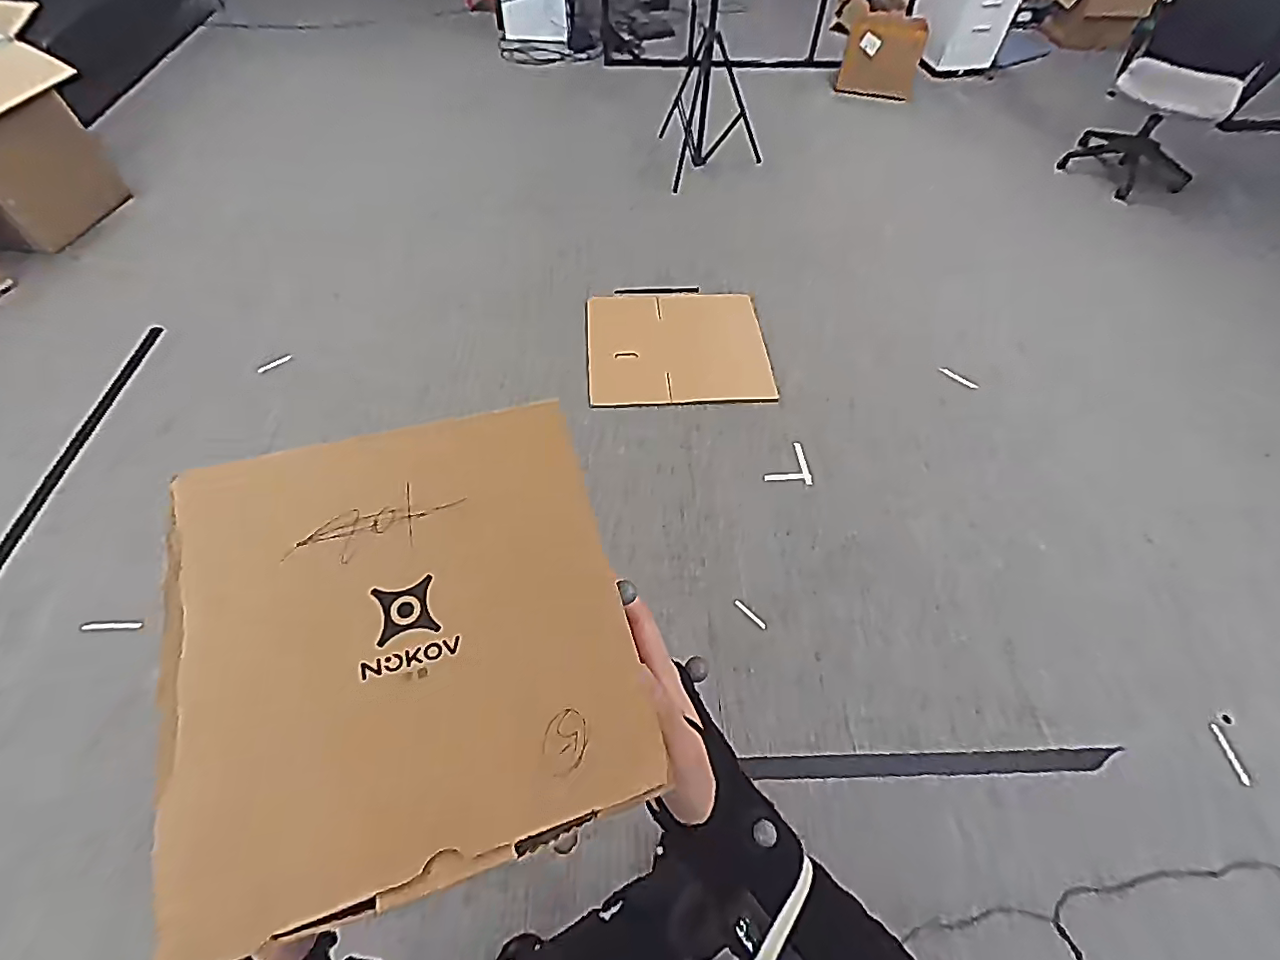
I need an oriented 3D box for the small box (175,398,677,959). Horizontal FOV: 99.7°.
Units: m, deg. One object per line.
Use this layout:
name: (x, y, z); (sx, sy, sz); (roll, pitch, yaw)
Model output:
small box: (-0.096, 0.087, 0.283); (0.168, 0.176, 0.179); (-14, 66, -15)
